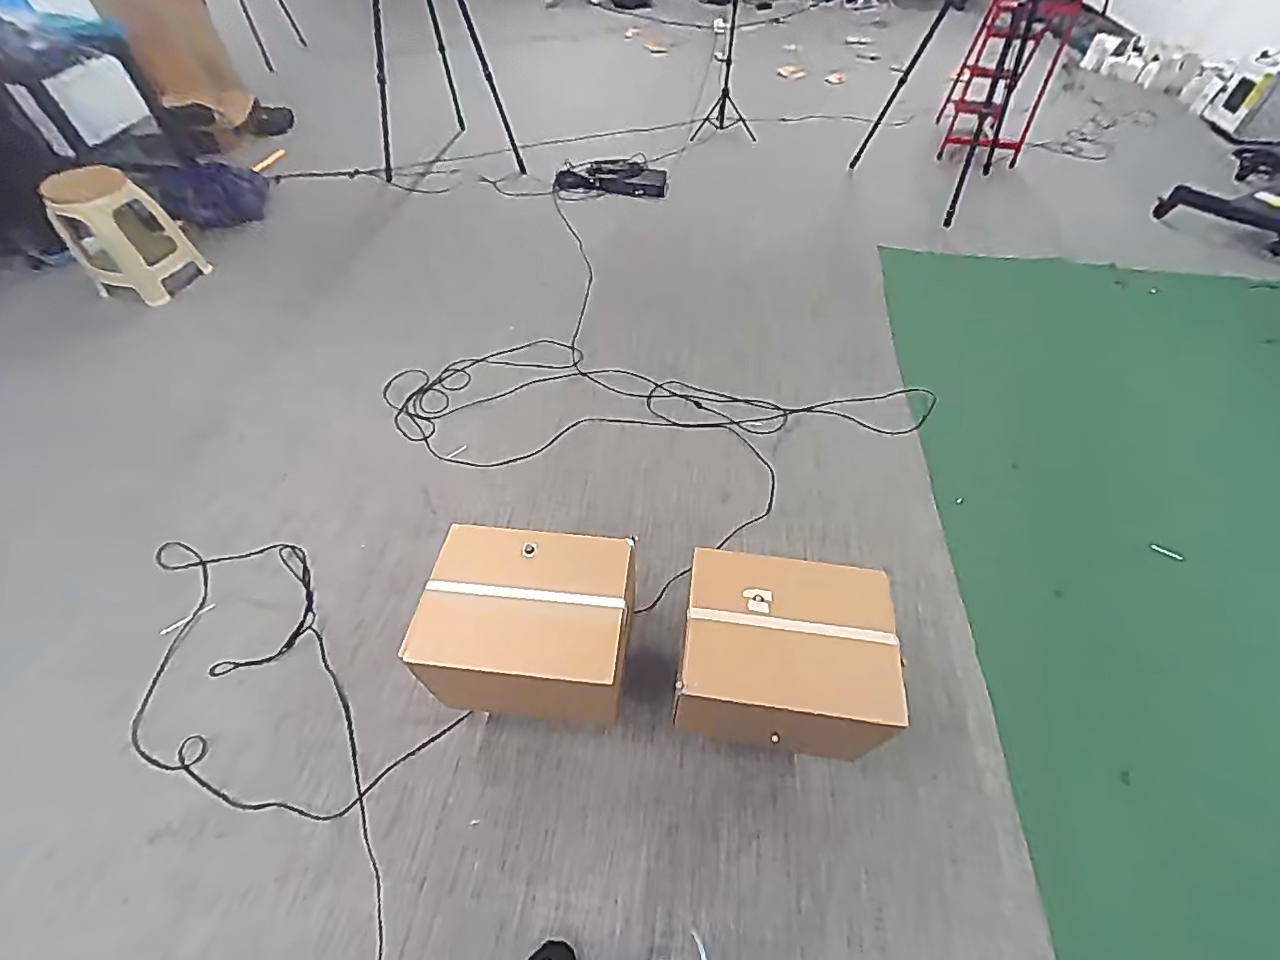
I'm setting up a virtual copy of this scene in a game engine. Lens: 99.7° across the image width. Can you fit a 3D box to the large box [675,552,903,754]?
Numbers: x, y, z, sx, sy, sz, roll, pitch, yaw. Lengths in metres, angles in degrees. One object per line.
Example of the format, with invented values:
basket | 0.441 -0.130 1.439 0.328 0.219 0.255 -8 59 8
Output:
large box | 0.298 0.386 1.189 0.408 0.320 0.320 7 52 5
